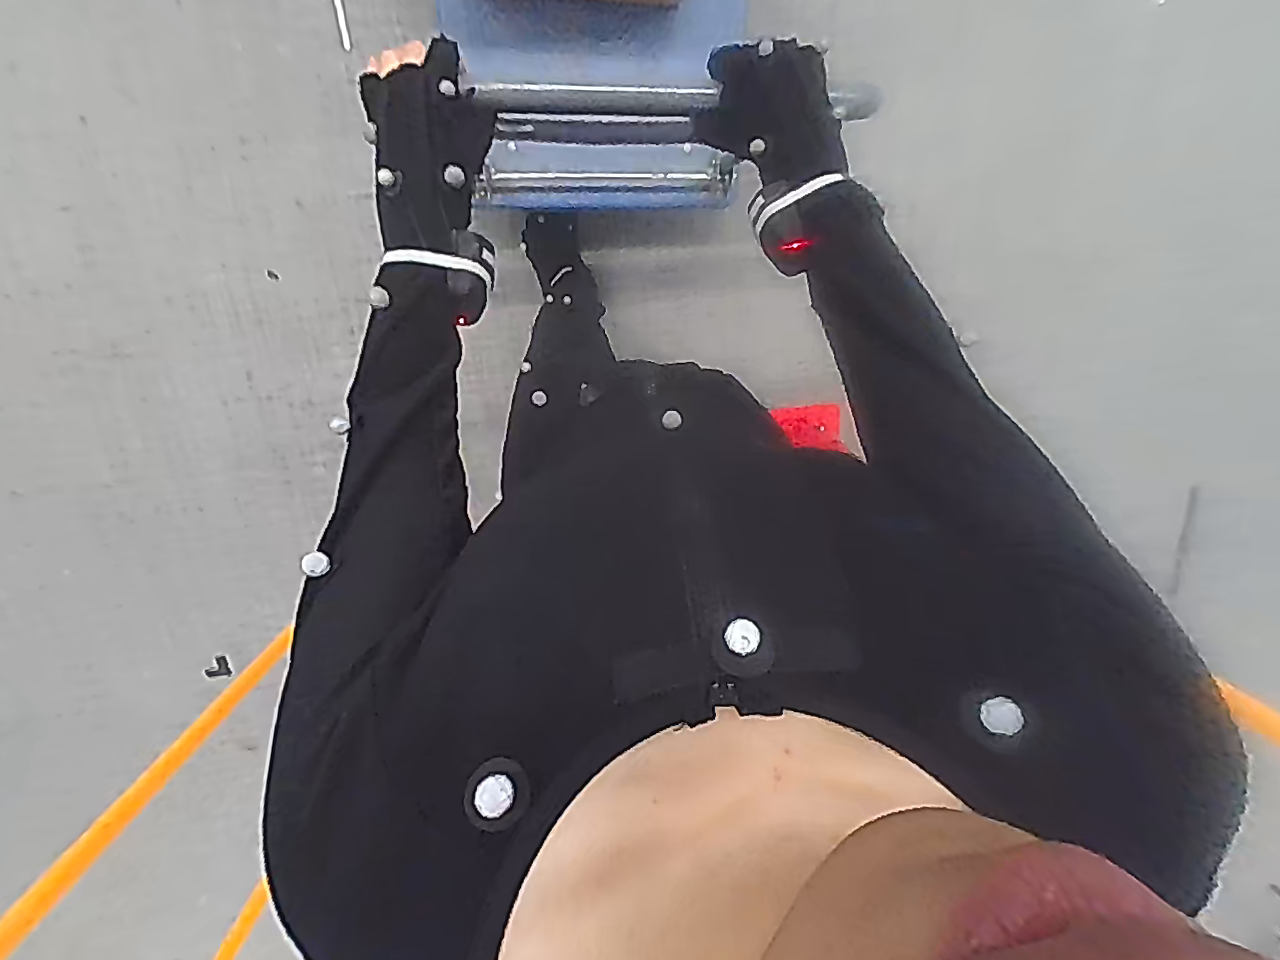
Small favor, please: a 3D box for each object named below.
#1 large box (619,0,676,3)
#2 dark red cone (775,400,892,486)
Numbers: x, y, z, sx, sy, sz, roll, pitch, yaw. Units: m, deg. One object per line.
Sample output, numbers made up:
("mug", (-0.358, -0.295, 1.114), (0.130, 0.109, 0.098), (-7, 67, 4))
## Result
("large box", (-0.107, -0.994, 0.825), (0.408, 0.320, 0.320), (-1, 108, -5))
("dark red cone", (0.484, -0.060, 1.310), (0.201, 0.394, 0.202), (-7, 108, -5))
